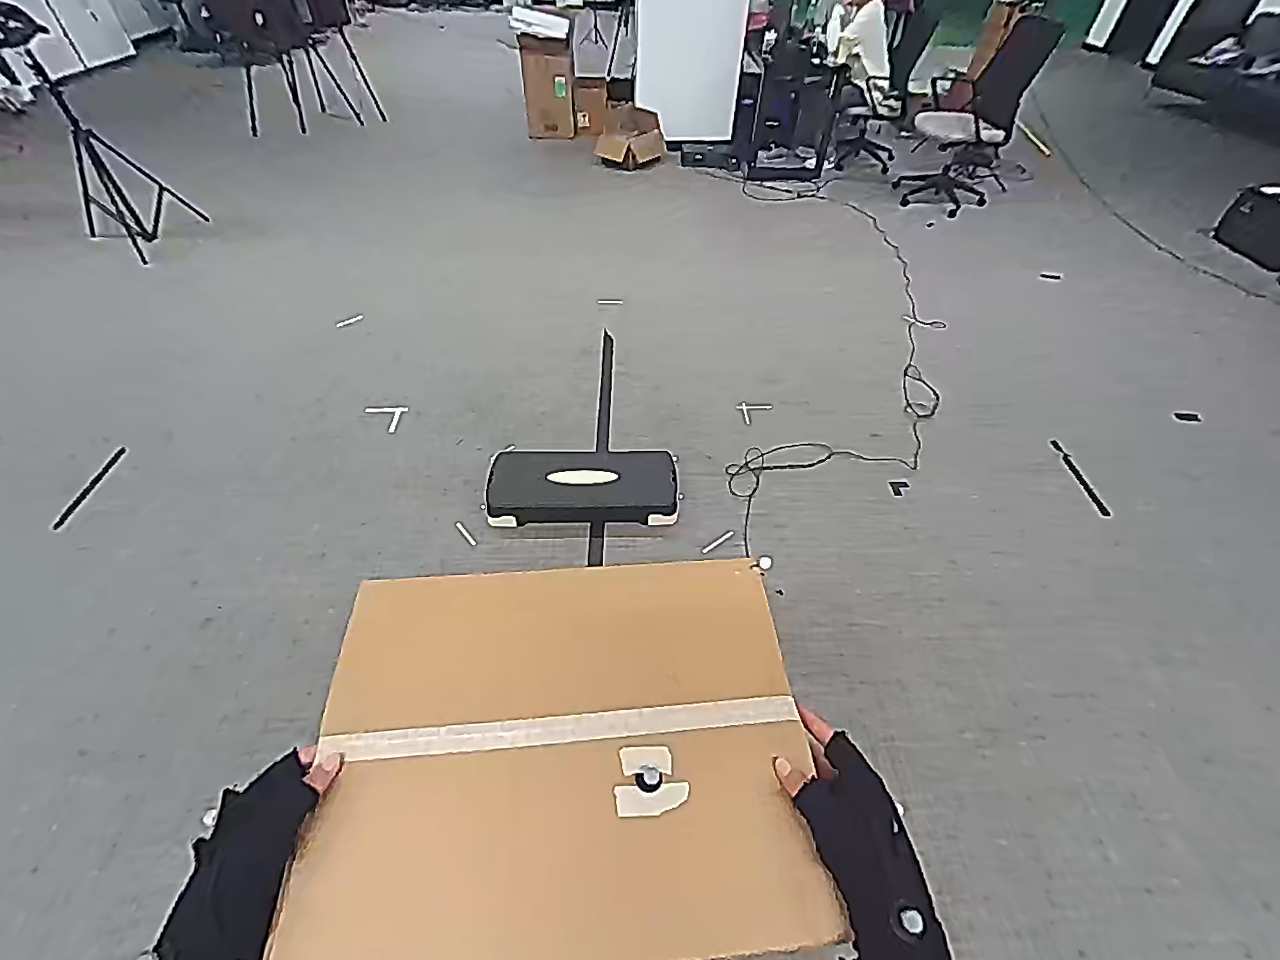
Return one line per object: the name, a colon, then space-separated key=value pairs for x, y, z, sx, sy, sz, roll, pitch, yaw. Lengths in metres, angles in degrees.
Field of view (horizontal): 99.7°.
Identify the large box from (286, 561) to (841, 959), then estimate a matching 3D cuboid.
large box: x=-0.069 y=0.310 z=0.588 sx=0.408 sy=0.320 sz=0.320 roll=-2 pitch=51 yaw=-6
